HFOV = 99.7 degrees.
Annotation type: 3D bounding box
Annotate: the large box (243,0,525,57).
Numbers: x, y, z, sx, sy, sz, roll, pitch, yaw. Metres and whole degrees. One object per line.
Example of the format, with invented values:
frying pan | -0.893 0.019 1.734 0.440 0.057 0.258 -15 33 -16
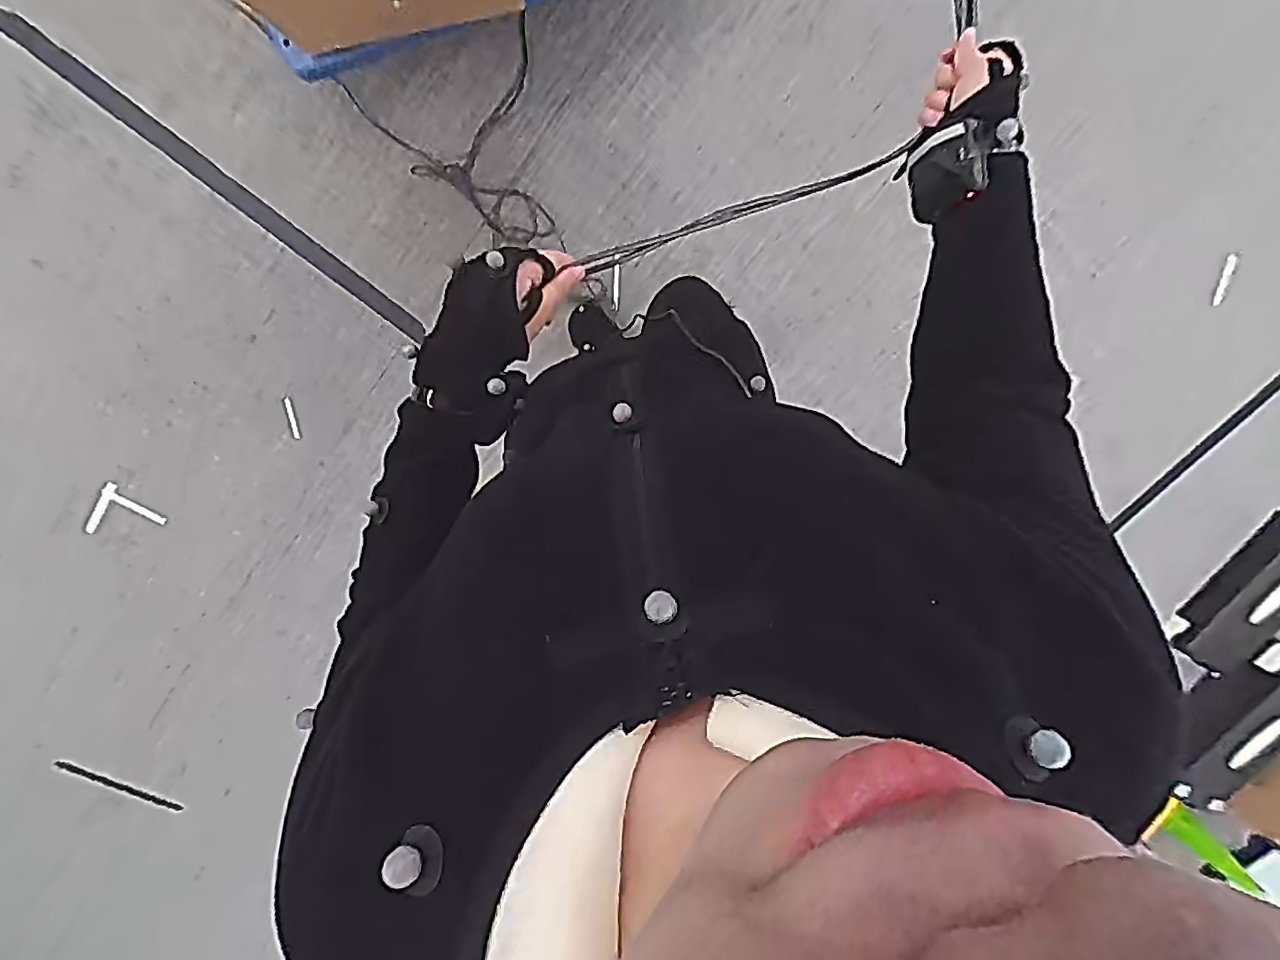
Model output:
large box | -0.417 -0.897 0.793 0.408 0.320 0.320 -13 111 0
